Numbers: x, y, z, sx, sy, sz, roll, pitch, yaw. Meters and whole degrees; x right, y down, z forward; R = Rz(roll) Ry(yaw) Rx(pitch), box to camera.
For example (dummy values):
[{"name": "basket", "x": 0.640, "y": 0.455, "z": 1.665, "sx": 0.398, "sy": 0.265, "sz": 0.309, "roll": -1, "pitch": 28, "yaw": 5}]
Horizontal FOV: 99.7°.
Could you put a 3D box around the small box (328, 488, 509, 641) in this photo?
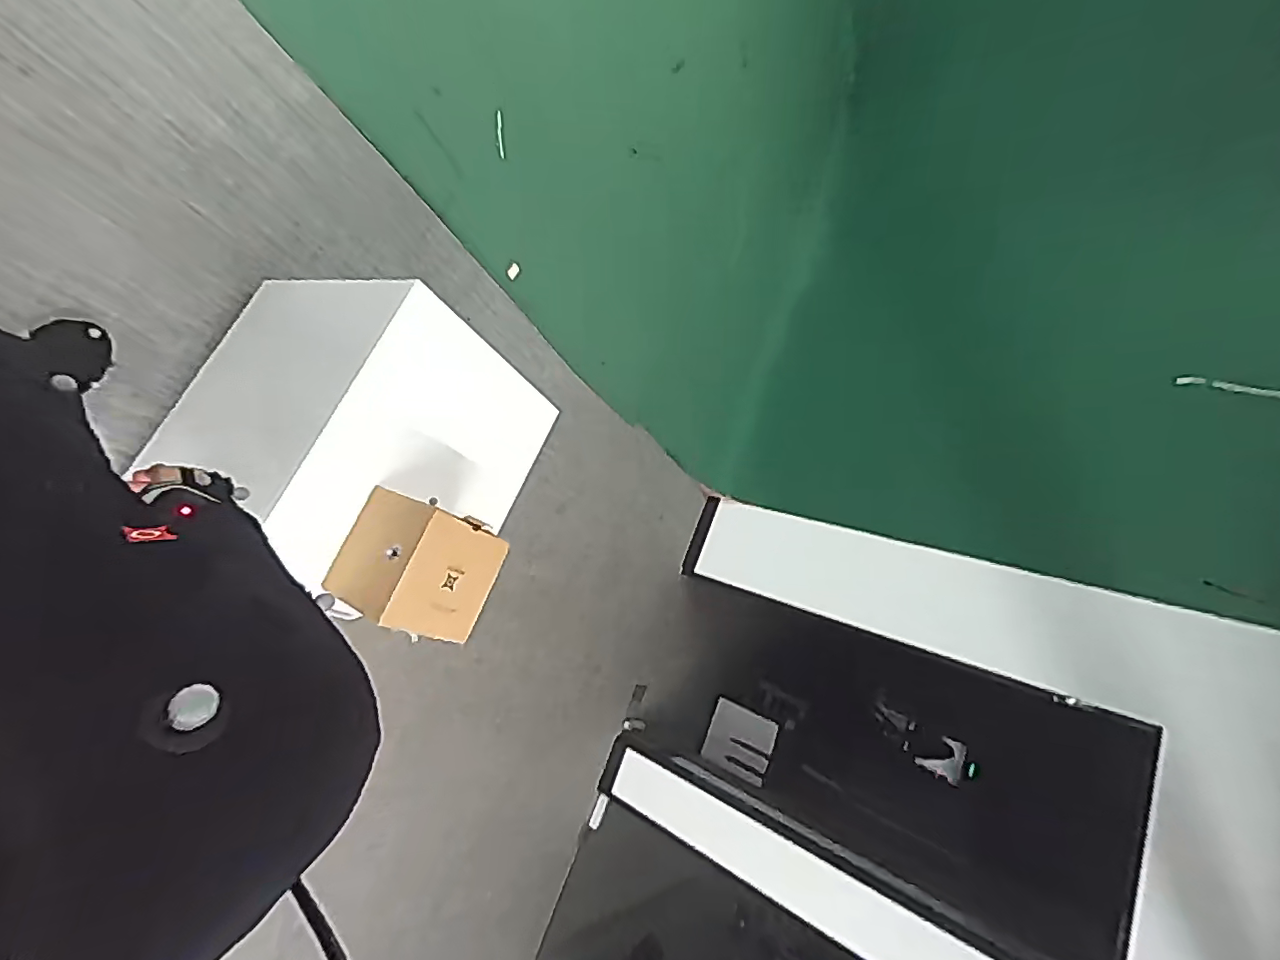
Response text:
[{"name": "small box", "x": -0.348, "y": 0.129, "z": 0.850, "sx": 0.168, "sy": 0.176, "sz": 0.179, "roll": 41, "pitch": 68, "yaw": -53}]
